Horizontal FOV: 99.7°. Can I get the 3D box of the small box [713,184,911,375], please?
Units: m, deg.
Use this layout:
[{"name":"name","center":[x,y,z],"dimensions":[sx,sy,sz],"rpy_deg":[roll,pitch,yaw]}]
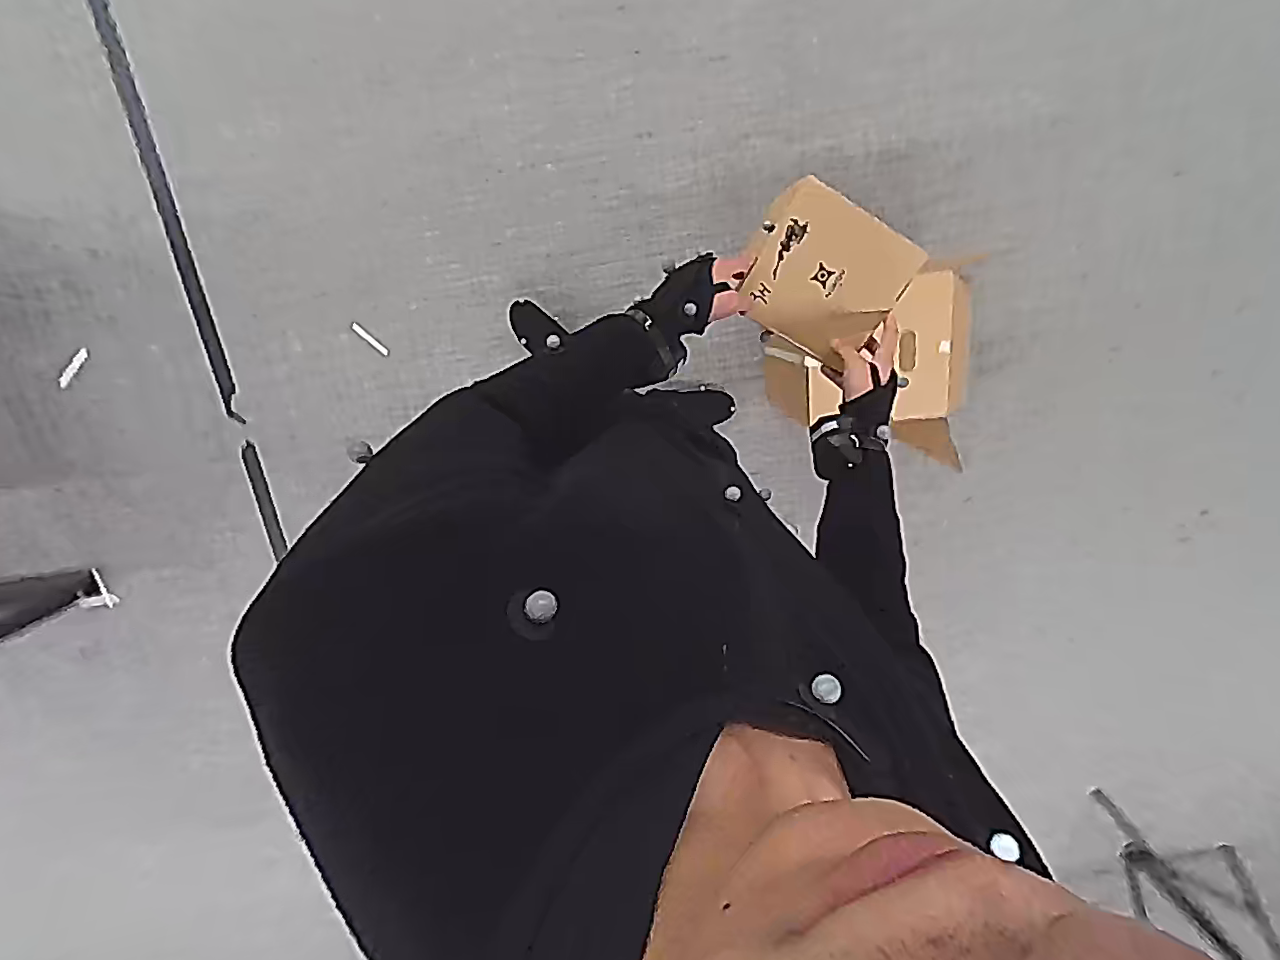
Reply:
[{"name":"small box","center":[0.219,-0.272,0.740],"dimensions":[0.179,0.176,0.168],"rpy_deg":[29,110,-9]}]
